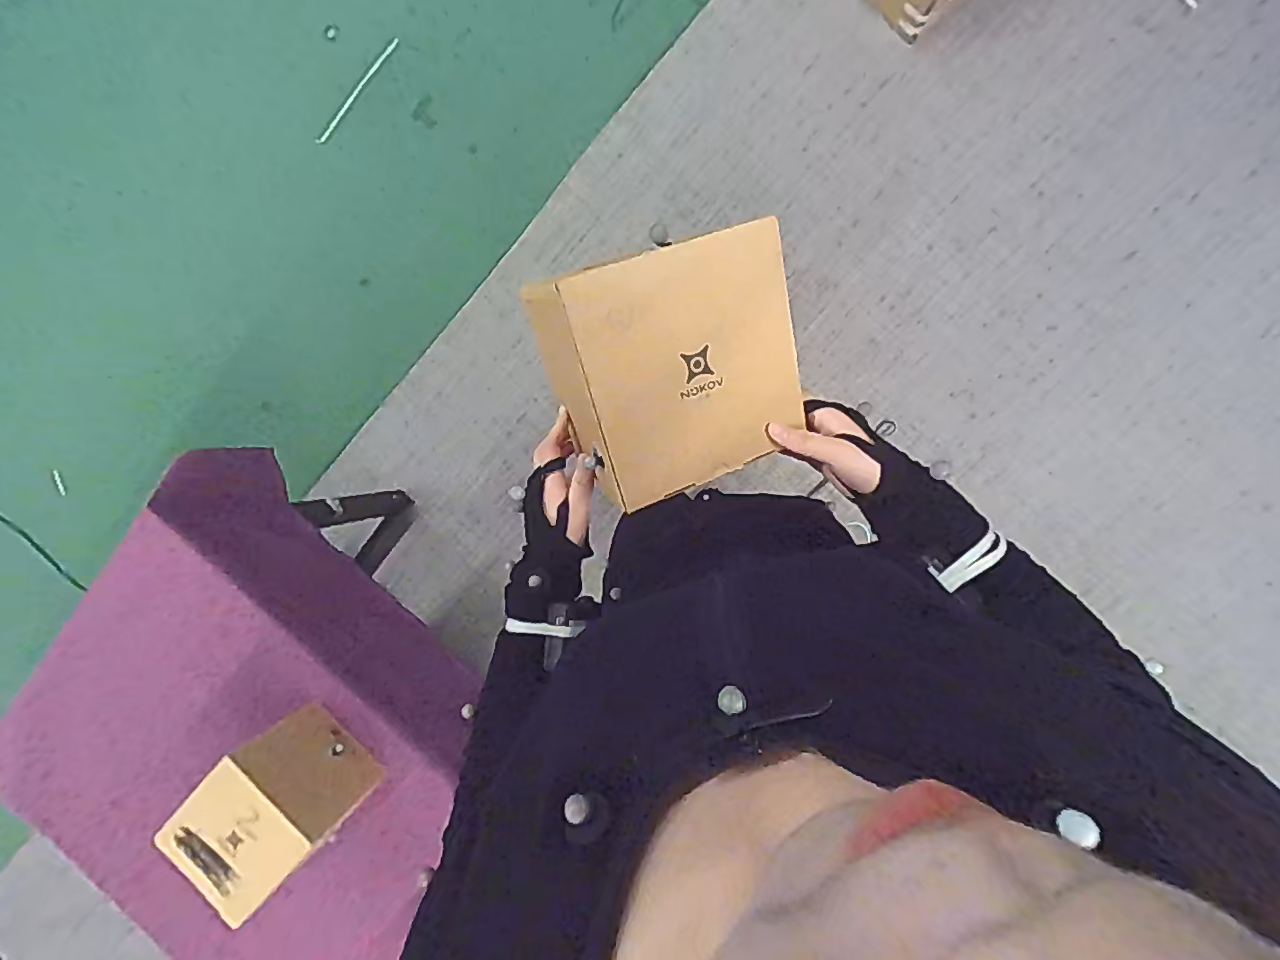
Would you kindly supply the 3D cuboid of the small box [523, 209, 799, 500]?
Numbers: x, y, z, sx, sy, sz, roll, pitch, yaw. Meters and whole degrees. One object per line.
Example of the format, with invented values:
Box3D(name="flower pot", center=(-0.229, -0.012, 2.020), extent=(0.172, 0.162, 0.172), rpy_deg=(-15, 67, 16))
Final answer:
Box3D(name="small box", center=(0.010, -0.112, 0.465), extent=(0.168, 0.176, 0.179), rpy_deg=(-21, 116, -12))
